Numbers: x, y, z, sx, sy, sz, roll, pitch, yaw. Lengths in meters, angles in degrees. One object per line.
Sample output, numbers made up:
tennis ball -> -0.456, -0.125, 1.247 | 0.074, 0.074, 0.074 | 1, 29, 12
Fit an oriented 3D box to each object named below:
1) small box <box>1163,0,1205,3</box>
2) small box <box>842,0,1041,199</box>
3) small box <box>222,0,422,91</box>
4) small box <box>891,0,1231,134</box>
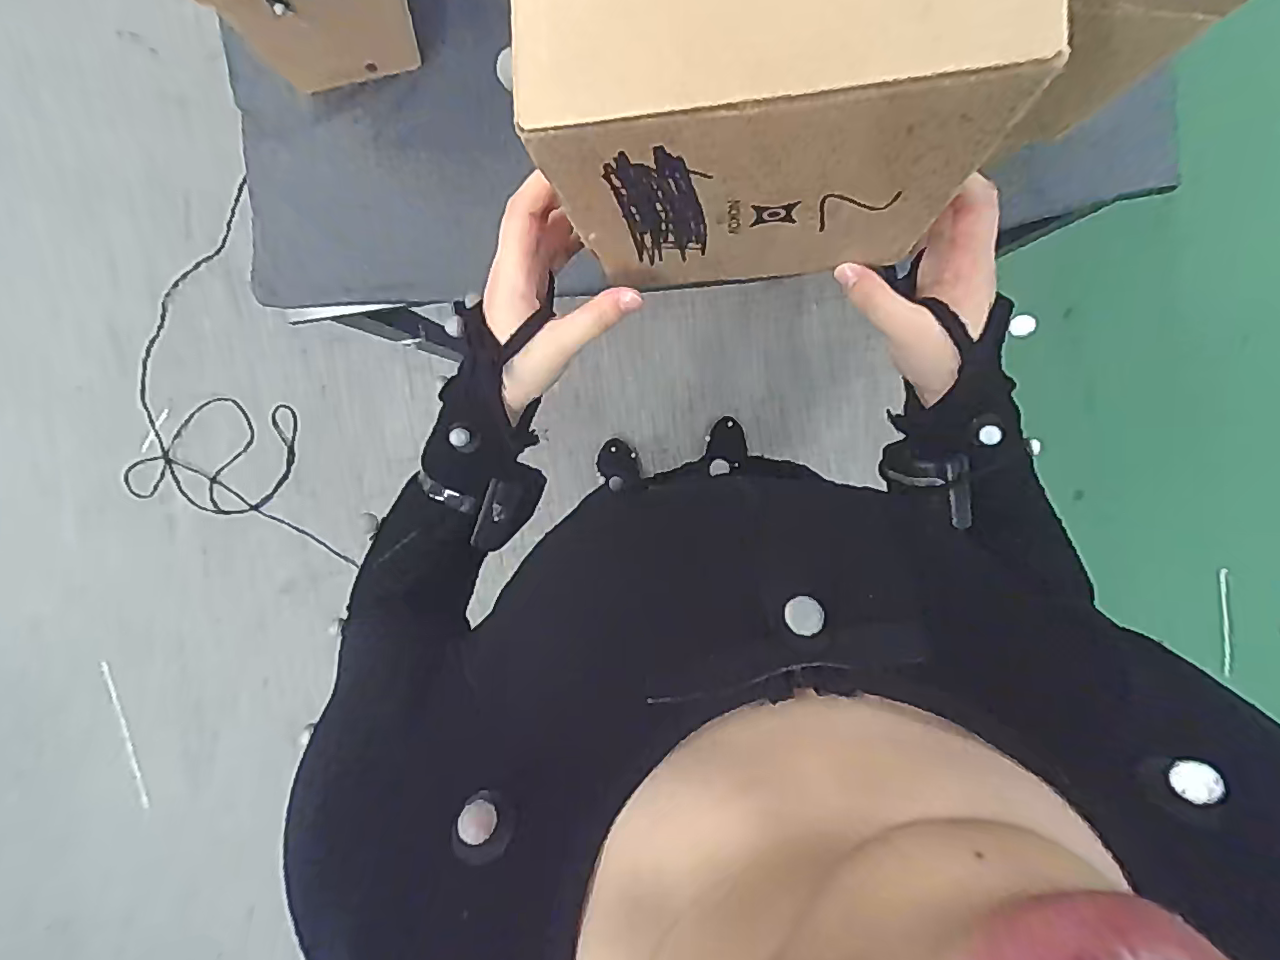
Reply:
small box -> 0.343, -0.415, 0.297 | 0.179, 0.176, 0.168 | 6, 94, 2
small box -> 0.345, -0.455, 0.622 | 0.168, 0.176, 0.179 | -7, 96, 2
small box -> -0.376, -0.598, 0.618 | 0.168, 0.176, 0.179 | -11, 96, 1
small box -> 0.344, -0.426, 0.462 | 0.179, 0.176, 0.168 | 4, 95, 2
